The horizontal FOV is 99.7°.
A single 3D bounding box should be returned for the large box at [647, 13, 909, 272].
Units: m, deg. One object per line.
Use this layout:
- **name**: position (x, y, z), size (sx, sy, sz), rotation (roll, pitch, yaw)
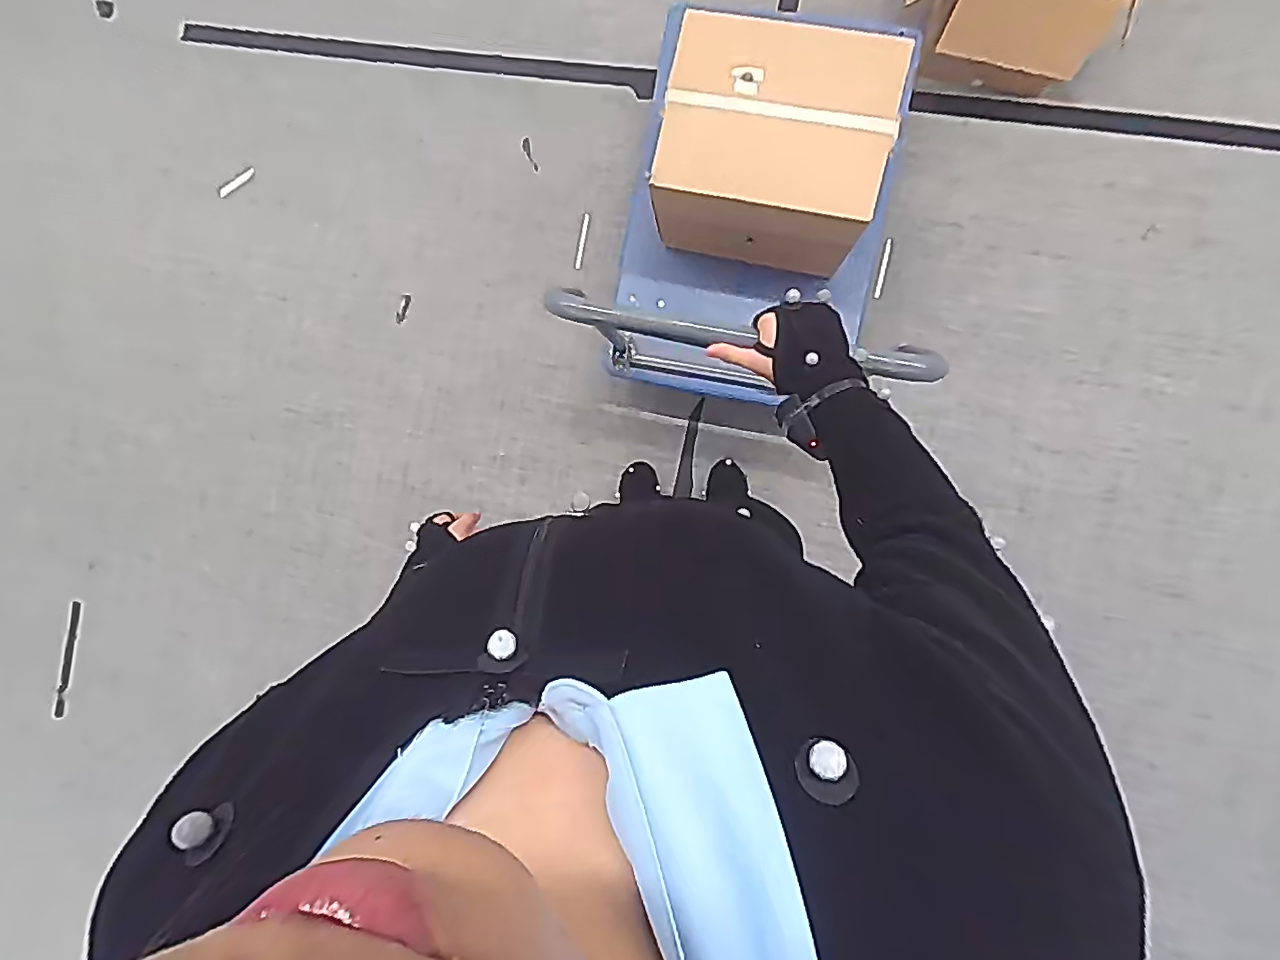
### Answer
- **large box**: position (0.257, -0.649, 1.093), size (0.408, 0.320, 0.320), rotation (13, 93, 7)
